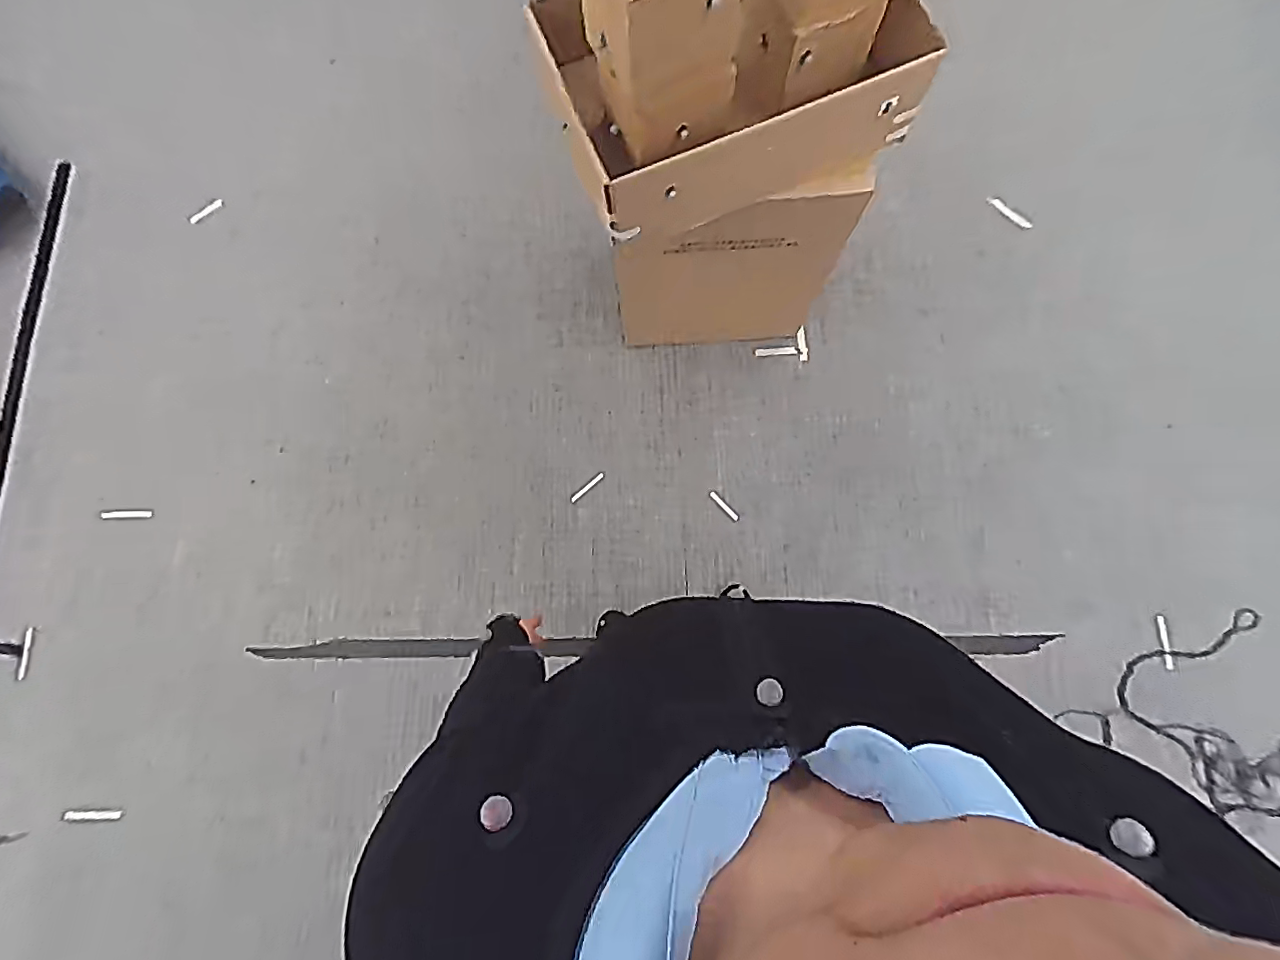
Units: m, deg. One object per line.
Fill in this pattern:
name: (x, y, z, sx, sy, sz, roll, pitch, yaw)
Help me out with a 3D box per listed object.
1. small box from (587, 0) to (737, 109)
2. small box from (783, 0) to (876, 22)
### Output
small box: (0.027, -0.696, 0.783, 0.179, 0.176, 0.168, -27, 80, -3)
small box: (0.295, -0.838, 0.801, 0.179, 0.176, 0.168, -18, 80, -1)
